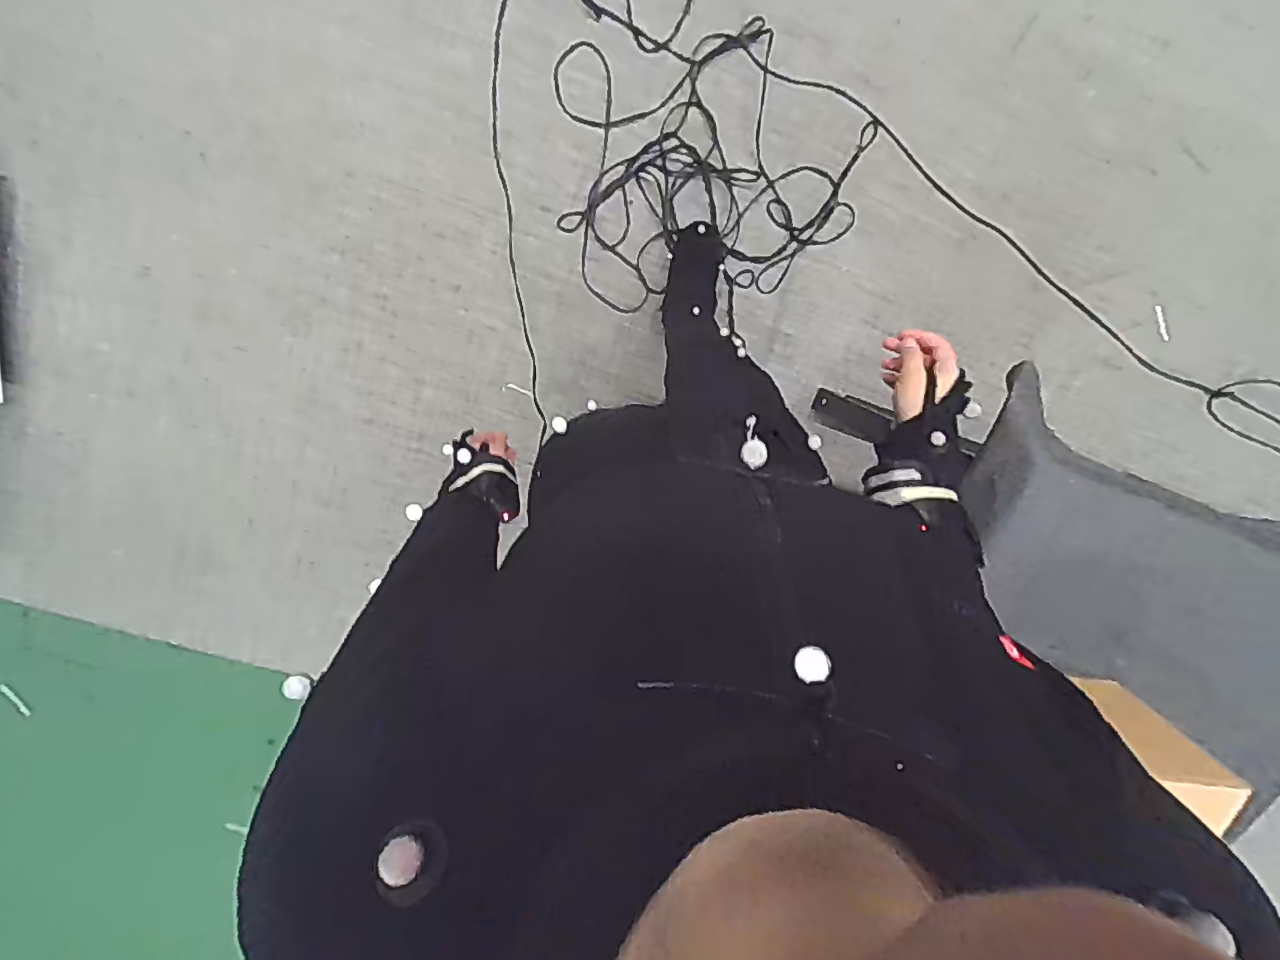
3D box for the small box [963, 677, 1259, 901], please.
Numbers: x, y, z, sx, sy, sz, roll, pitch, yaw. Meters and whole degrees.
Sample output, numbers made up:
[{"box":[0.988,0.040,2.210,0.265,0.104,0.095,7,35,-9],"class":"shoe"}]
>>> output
[{"box":[0.543,0.362,0.654,0.179,0.176,0.168,8,109,-4],"class":"small box"}]
